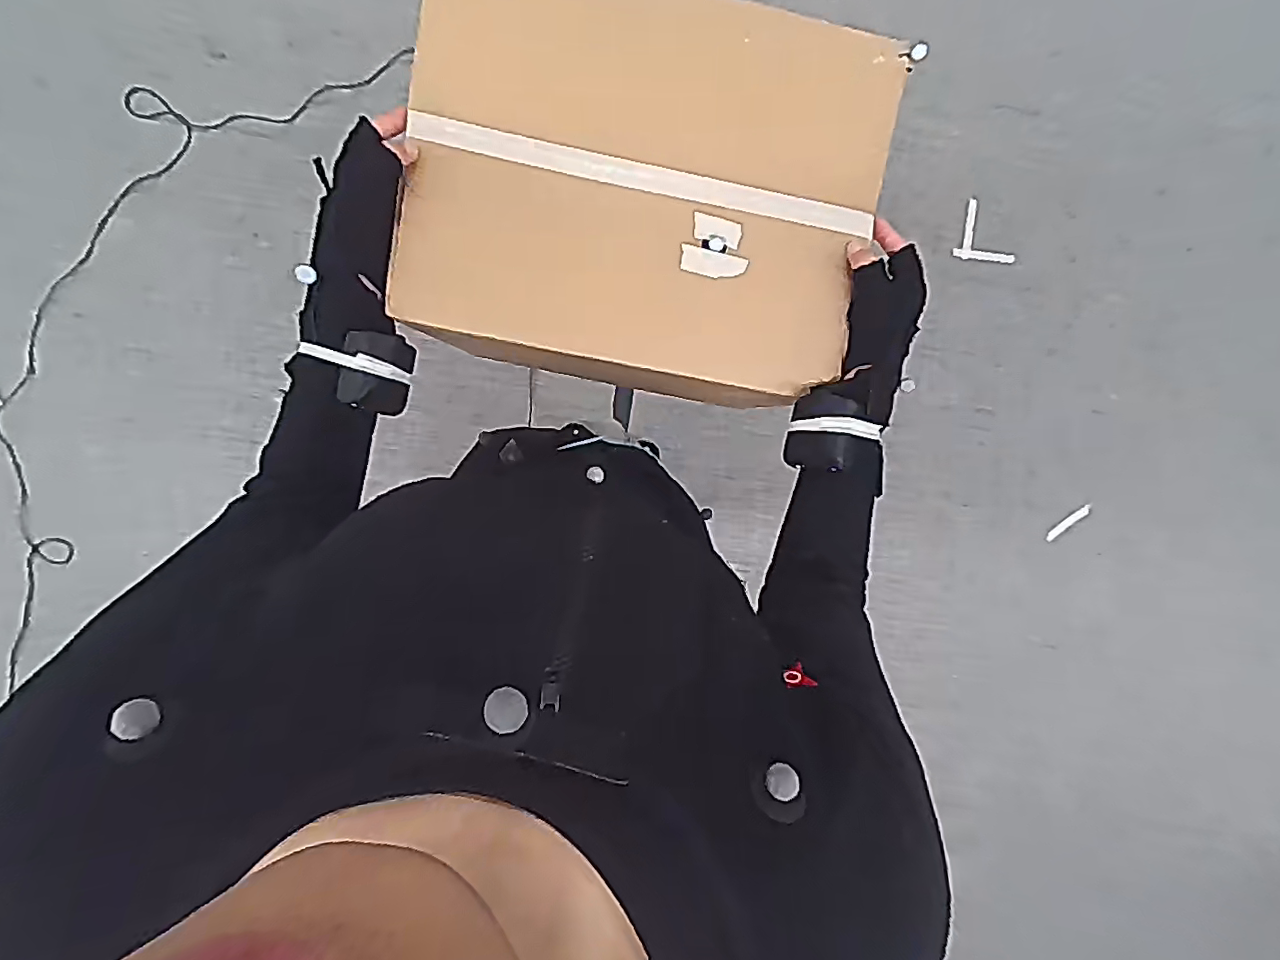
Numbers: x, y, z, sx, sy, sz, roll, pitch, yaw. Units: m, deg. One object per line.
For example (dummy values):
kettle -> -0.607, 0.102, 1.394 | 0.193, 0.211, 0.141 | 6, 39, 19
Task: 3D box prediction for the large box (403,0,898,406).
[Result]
large box -> -0.003, -0.271, 0.622 | 0.408, 0.320, 0.320 | 10, 97, -6
